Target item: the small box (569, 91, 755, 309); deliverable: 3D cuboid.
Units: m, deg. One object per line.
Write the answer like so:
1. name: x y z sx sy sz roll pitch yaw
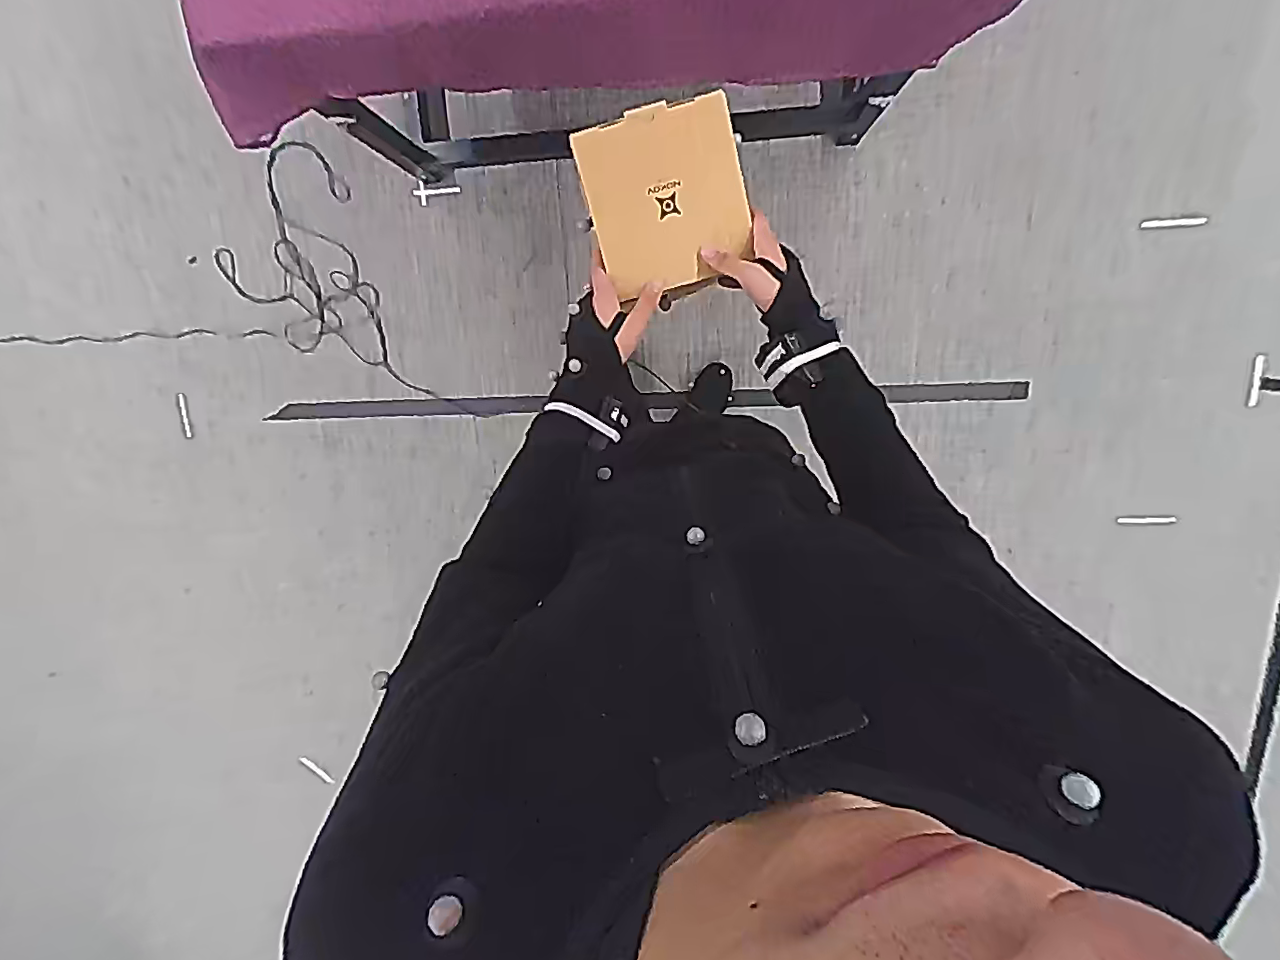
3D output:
1. small box: 0.025 -0.313 0.650 0.168 0.176 0.179 -16 101 2
